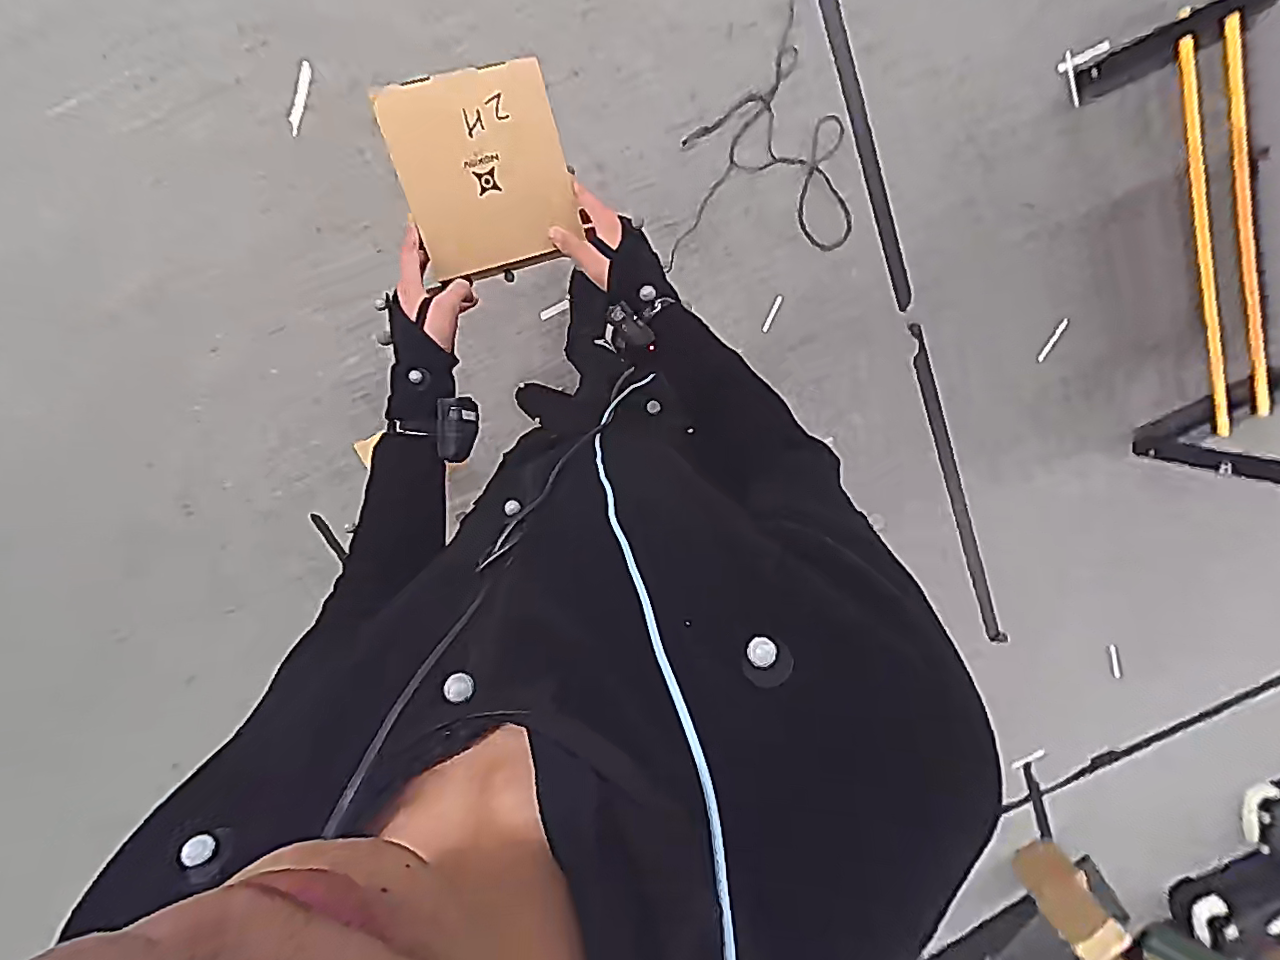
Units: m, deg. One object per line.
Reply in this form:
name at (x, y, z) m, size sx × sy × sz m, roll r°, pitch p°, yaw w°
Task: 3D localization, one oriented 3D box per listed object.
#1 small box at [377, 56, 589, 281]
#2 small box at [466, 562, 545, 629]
small box at (-0.168, -0.334, 0.615) m, size 0.168 × 0.176 × 0.179 m, roll -19°, pitch 110°, yaw -9°
small box at (-0.399, 0.369, 1.632) m, size 0.168 × 0.176 × 0.179 m, roll -26°, pitch 108°, yaw 1°
